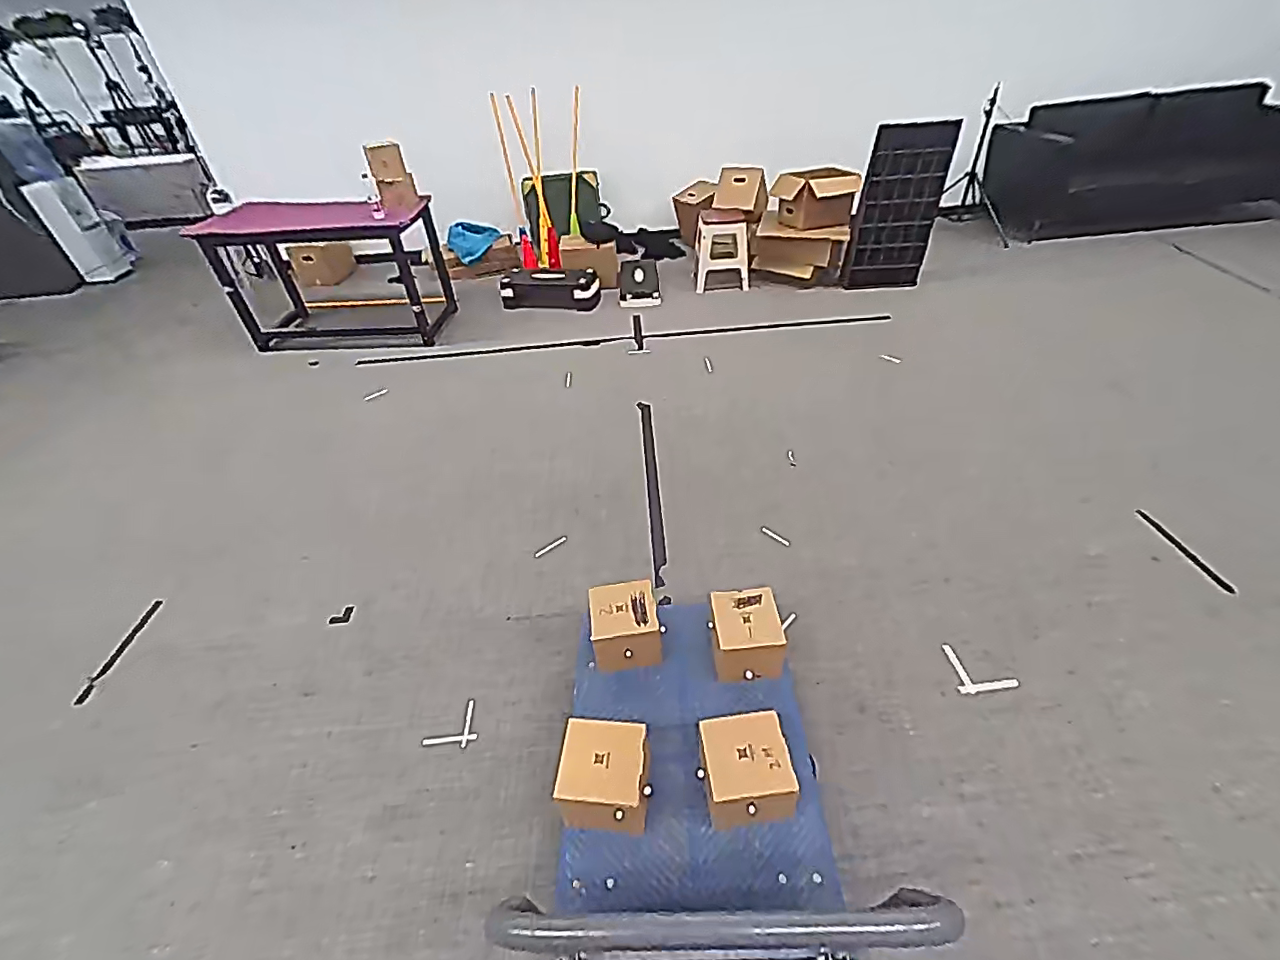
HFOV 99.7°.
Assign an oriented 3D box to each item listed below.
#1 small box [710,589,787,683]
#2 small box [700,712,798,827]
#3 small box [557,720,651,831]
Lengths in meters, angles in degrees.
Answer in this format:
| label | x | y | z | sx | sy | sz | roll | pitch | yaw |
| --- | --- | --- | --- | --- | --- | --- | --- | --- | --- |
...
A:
| label | x | y | z | sx | sy | sz | roll | pitch | yaw |
| --- | --- | --- | --- | --- | --- | --- | --- | --- | --- |
| small box | 0.281 | 0.417 | 1.442 | 0.168 | 0.176 | 0.179 | -5 | 42 | 0 |
| small box | 0.232 | 0.639 | 1.189 | 0.179 | 0.176 | 0.168 | -7 | 41 | -2 |
| small box | -0.072 | 0.656 | 1.199 | 0.179 | 0.176 | 0.168 | 2 | 40 | 6 |
